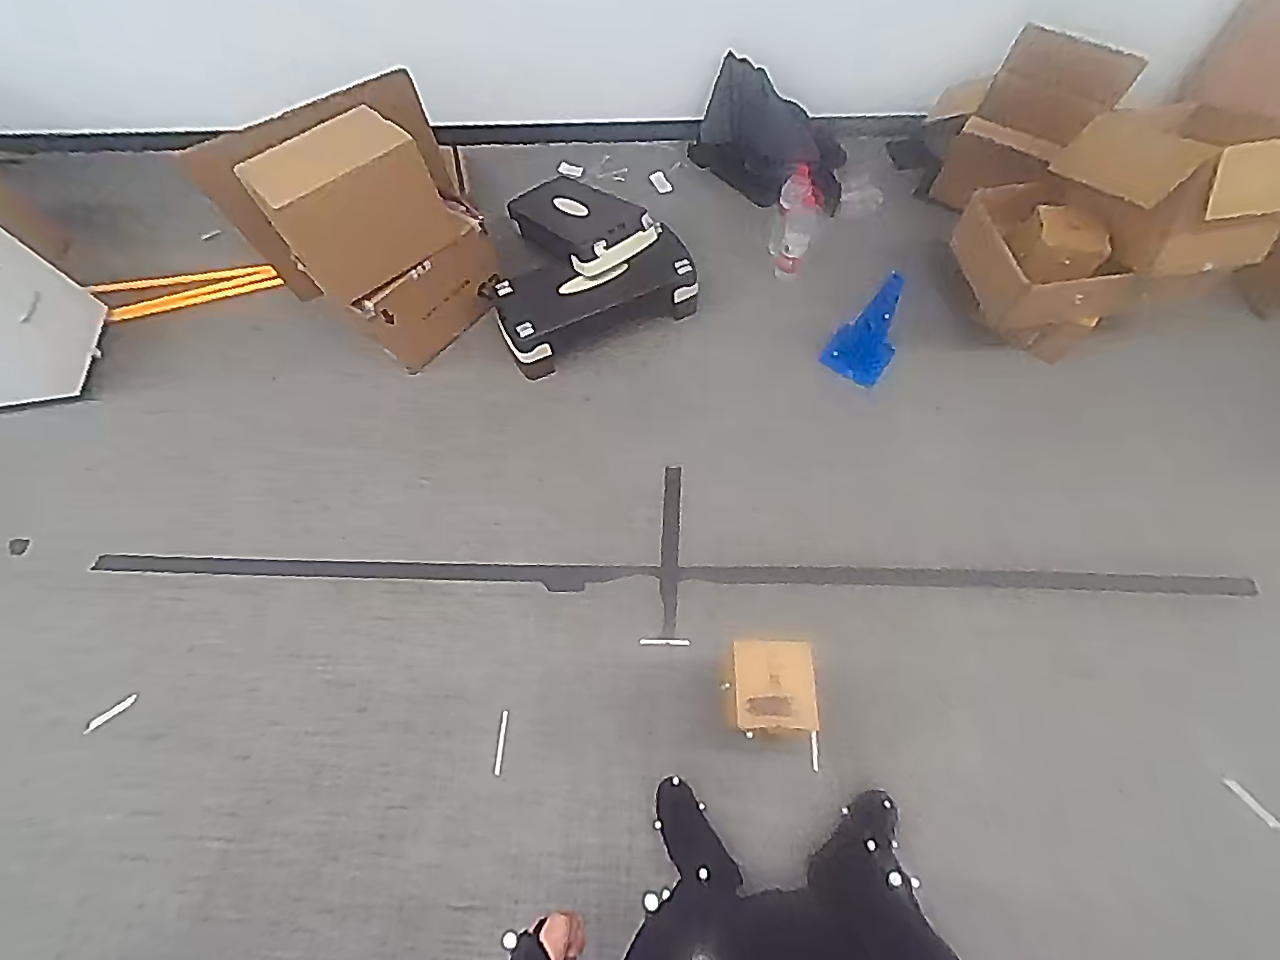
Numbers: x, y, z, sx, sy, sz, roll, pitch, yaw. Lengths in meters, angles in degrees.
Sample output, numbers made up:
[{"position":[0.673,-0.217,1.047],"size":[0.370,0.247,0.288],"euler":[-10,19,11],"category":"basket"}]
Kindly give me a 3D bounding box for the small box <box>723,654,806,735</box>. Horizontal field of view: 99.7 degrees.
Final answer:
[{"position":[0.301,0.535,1.344],"size":[0.168,0.176,0.179],"euler":[-2,66,2],"category":"small box"}]
